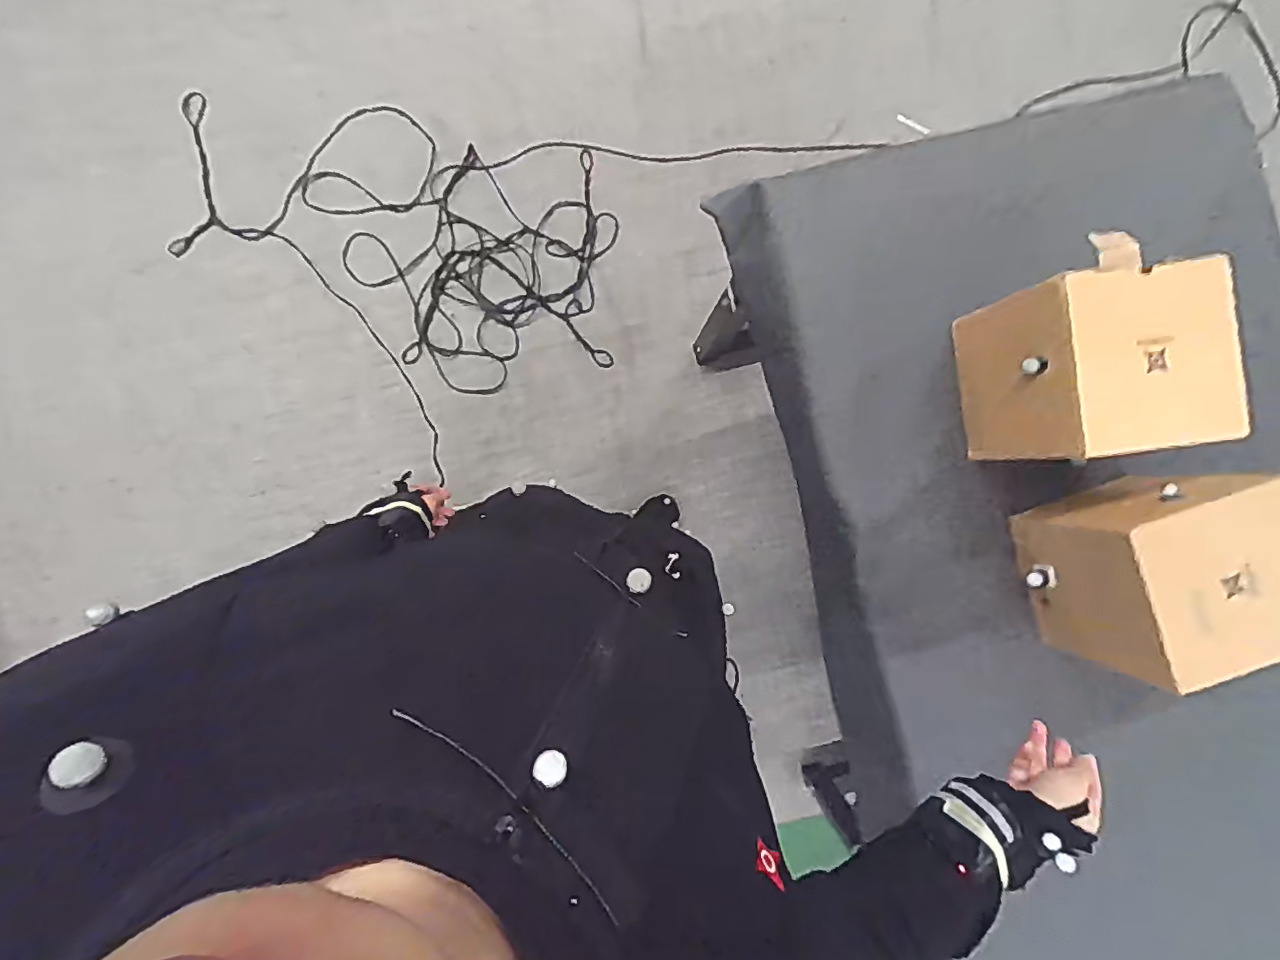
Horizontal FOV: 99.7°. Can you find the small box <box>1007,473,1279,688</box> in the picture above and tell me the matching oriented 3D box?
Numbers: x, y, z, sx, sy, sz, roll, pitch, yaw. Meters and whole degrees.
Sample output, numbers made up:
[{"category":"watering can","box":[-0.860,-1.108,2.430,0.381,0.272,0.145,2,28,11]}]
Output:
[{"category":"small box","box":[0.564,0.097,0.599,0.179,0.176,0.168,-19,89,-3]}]

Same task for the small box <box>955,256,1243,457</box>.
[{"category":"small box","box":[0.482,-0.120,0.593,0.168,0.176,0.179,-8,90,-4]}]
